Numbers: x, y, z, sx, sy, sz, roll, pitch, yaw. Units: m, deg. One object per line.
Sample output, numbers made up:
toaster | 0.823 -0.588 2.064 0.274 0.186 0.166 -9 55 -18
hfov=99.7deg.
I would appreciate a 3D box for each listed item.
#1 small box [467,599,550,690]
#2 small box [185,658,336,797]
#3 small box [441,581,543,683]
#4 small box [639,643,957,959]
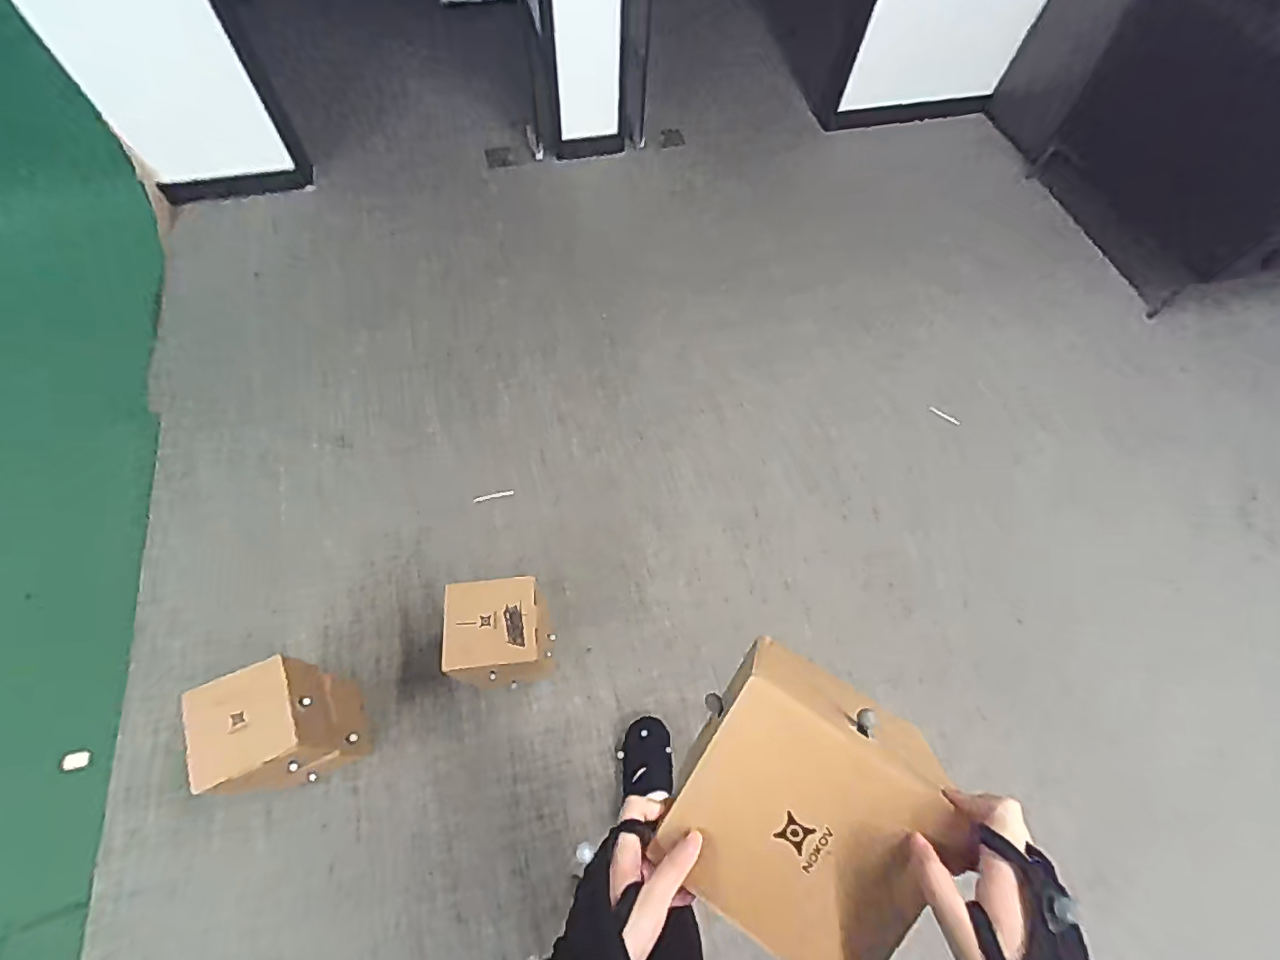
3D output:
small box | -0.303 0.383 1.254 0.179 0.176 0.168 -5 63 -7
small box | -0.694 0.457 1.005 0.168 0.176 0.179 -21 65 -14
small box | -0.292 0.314 1.104 0.179 0.176 0.168 -5 63 -5
small box | 0.128 0.263 0.476 0.179 0.176 0.168 30 92 15
